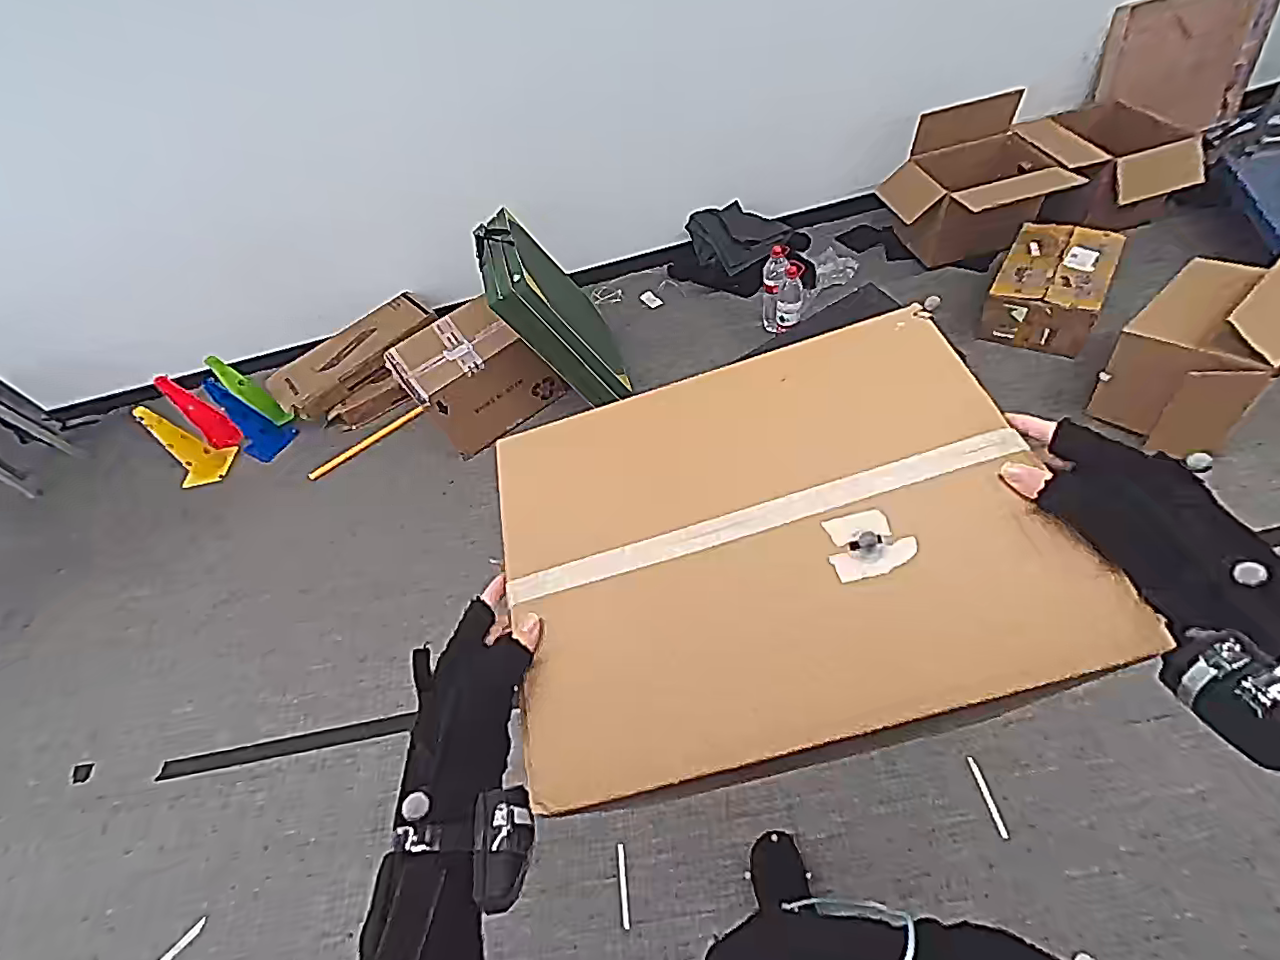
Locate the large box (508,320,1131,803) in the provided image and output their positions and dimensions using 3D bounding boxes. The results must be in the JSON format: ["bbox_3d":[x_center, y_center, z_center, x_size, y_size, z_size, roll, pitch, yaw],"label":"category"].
[{"bbox_3d":[0.122,0.108,0.557,0.408,0.320,0.320,-17,58,4],"label":"large box"}]
